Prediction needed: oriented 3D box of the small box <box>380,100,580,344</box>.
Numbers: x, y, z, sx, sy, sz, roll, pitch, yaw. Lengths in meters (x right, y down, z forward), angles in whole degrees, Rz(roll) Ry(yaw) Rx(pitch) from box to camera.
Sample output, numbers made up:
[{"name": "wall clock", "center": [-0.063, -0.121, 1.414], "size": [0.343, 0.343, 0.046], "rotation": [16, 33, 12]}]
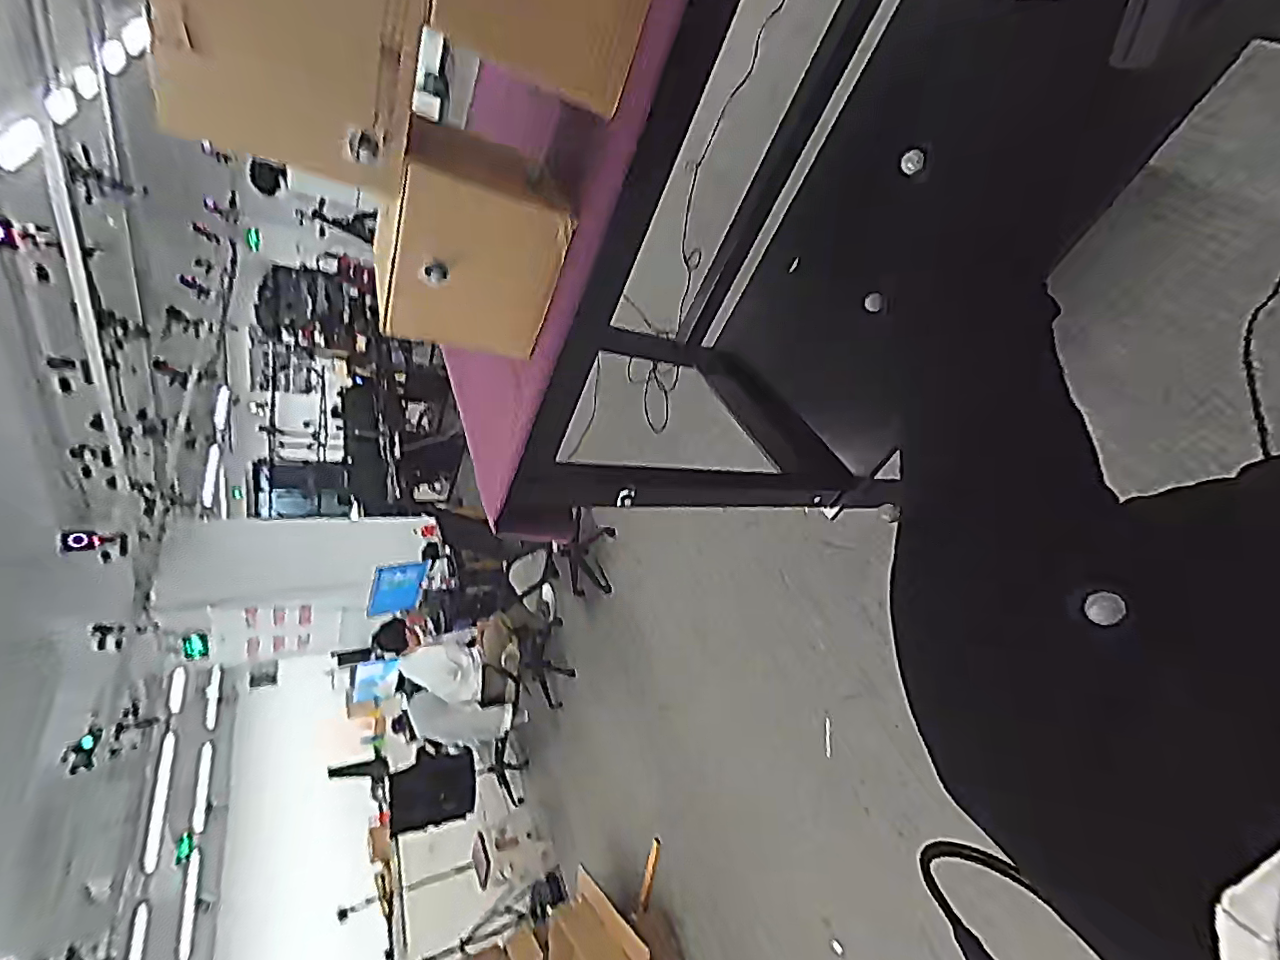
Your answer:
[{"name": "small box", "center": [-0.186, -0.277, 0.605], "size": [0.179, 0.176, 0.168], "rotation": [-57, 43, 36]}]

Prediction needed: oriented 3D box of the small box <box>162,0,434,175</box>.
[{"name": "small box", "center": [-0.278, -0.386, 0.455], "size": [0.168, 0.176, 0.179], "rotation": [-61, 40, 34]}]
